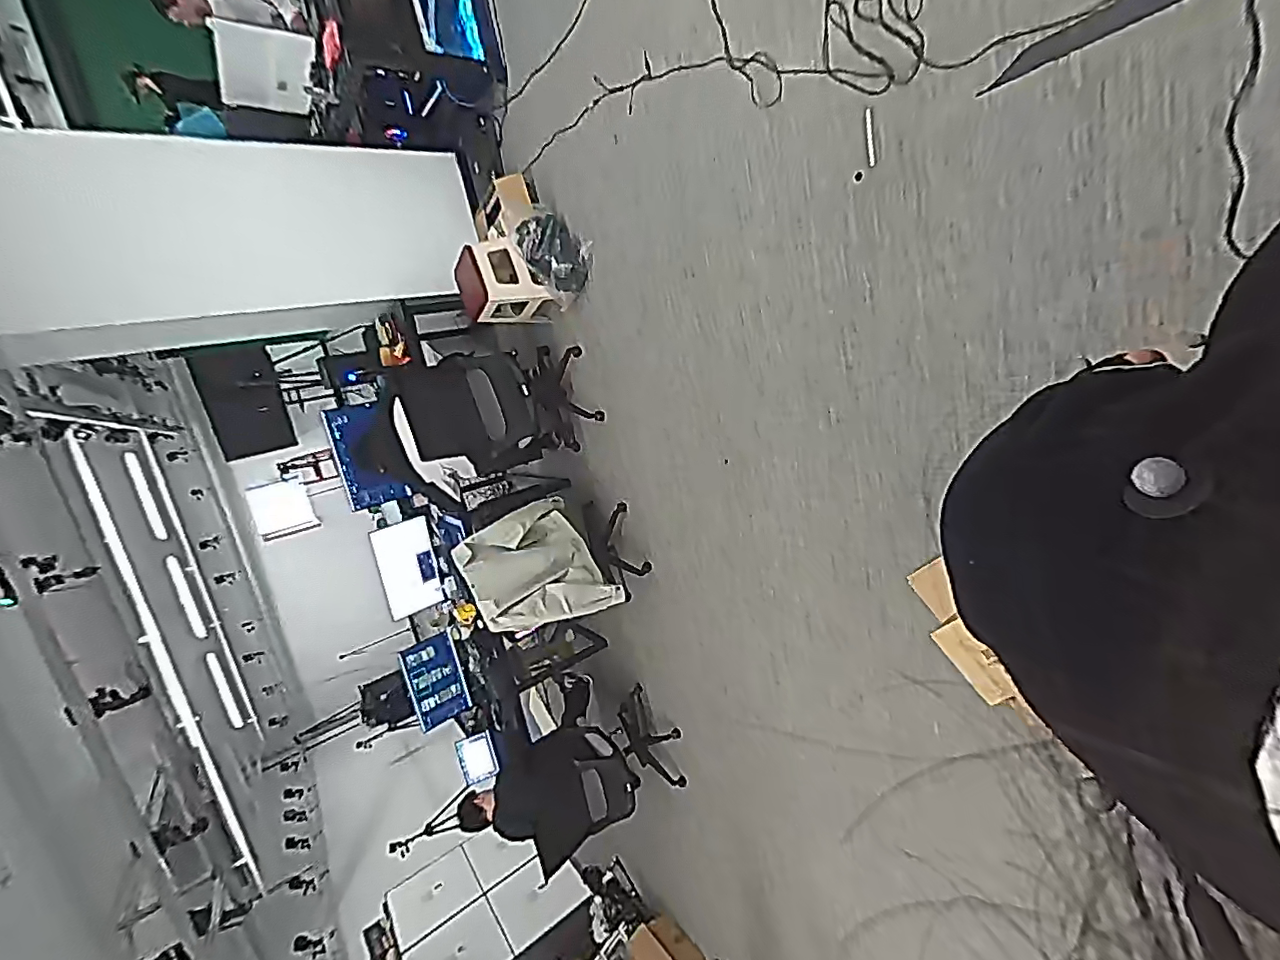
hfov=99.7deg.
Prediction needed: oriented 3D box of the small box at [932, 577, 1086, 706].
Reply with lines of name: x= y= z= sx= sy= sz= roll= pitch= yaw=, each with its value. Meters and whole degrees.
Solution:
small box: x=0.769 y=0.332 z=1.127 sx=0.179 sy=0.176 sz=0.168 roll=56 pitch=143 yaw=24
